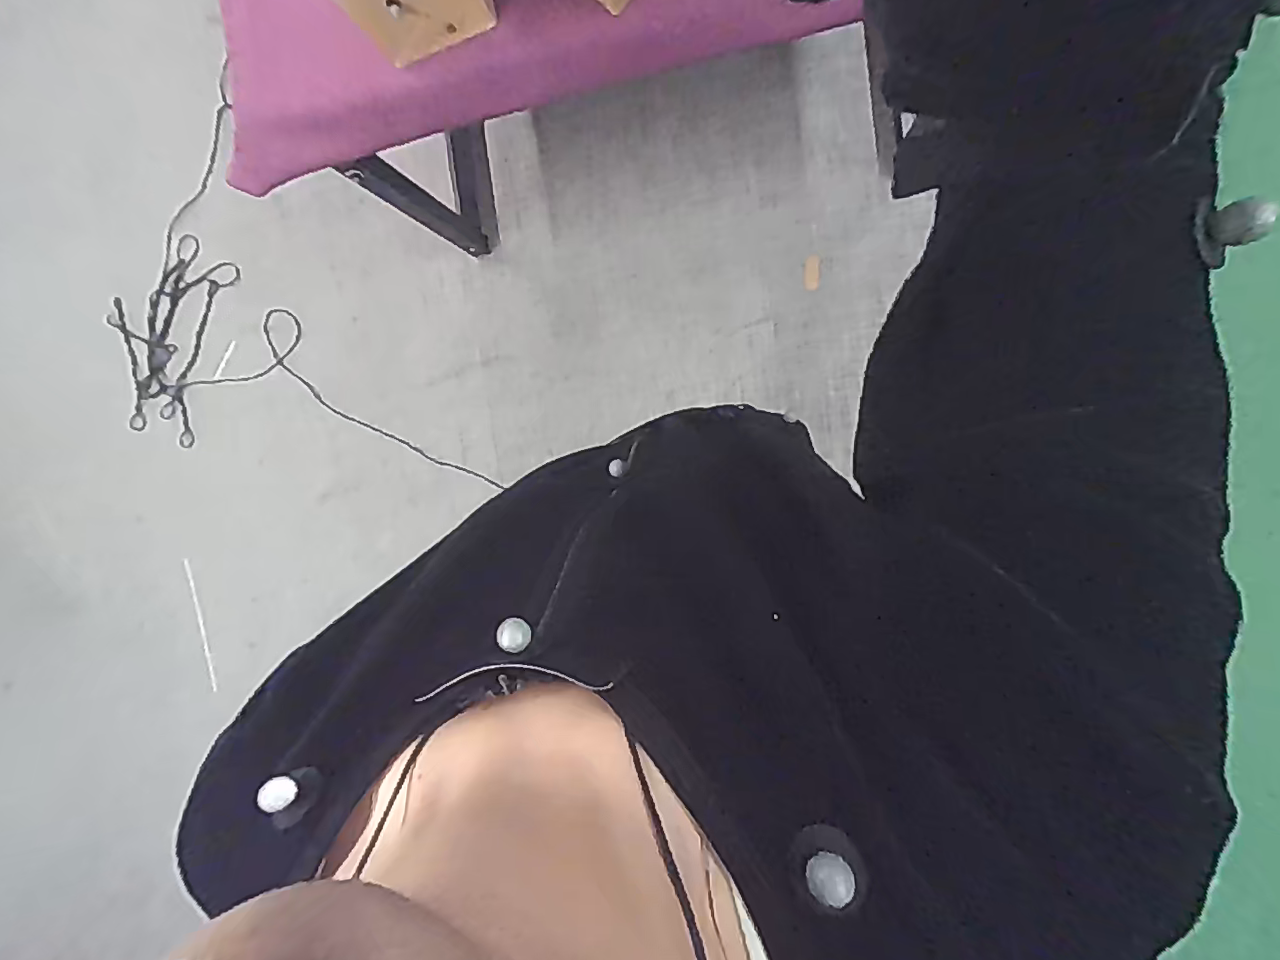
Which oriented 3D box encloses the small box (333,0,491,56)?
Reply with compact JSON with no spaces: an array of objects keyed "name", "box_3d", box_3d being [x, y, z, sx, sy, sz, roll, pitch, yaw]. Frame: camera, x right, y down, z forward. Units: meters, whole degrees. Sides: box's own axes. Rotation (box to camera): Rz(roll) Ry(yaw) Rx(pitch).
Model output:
[{"name":"small box","box_3d":[-0.311,-0.689,0.685,0.168,0.176,0.179,-14,91,11]}]
